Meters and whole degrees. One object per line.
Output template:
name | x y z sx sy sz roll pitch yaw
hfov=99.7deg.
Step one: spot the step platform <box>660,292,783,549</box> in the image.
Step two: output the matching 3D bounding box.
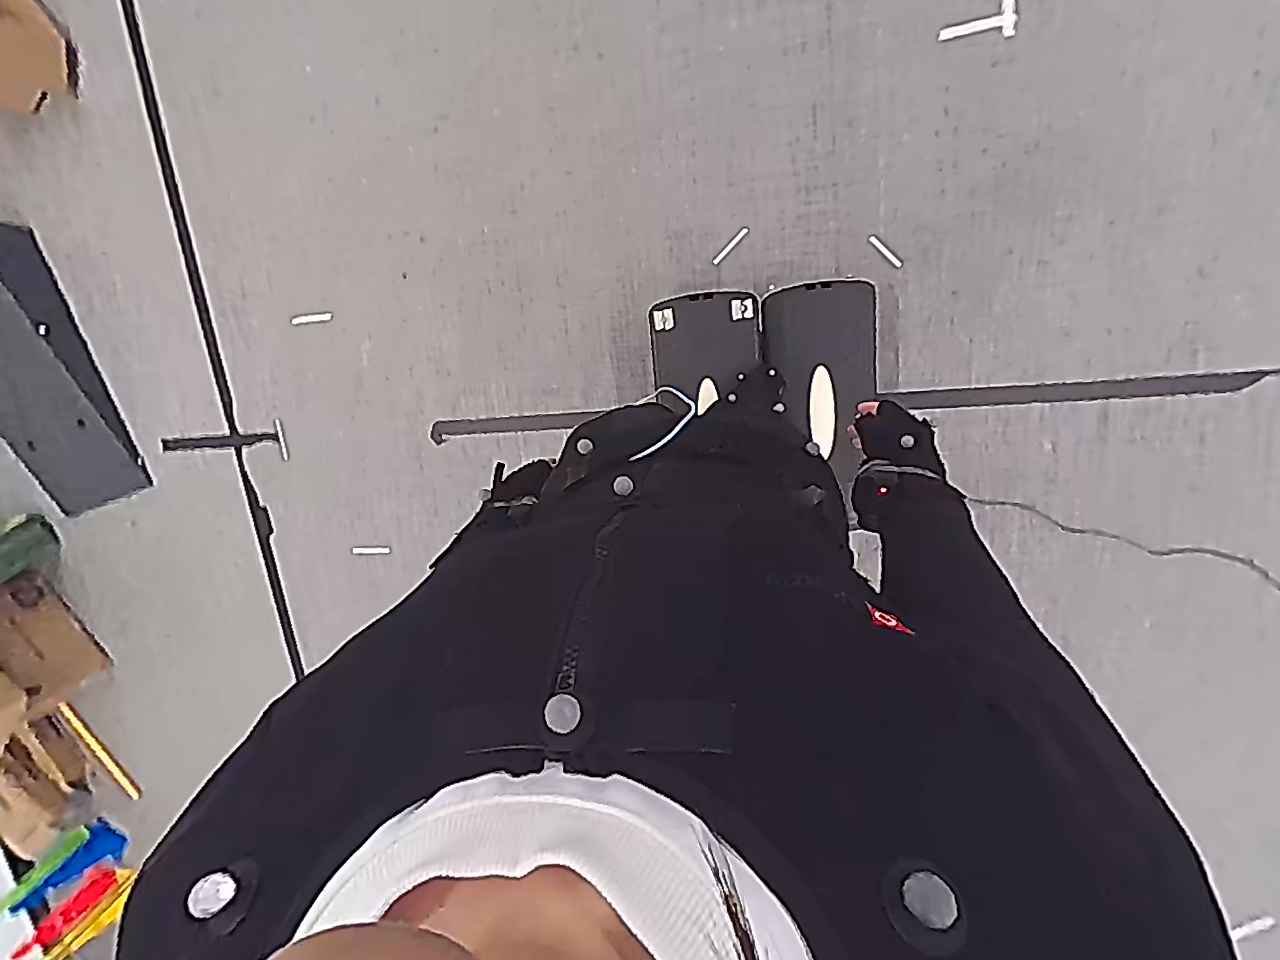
step platform | 0.228 -0.154 1.485 0.286 0.204 0.684 -4 101 12
